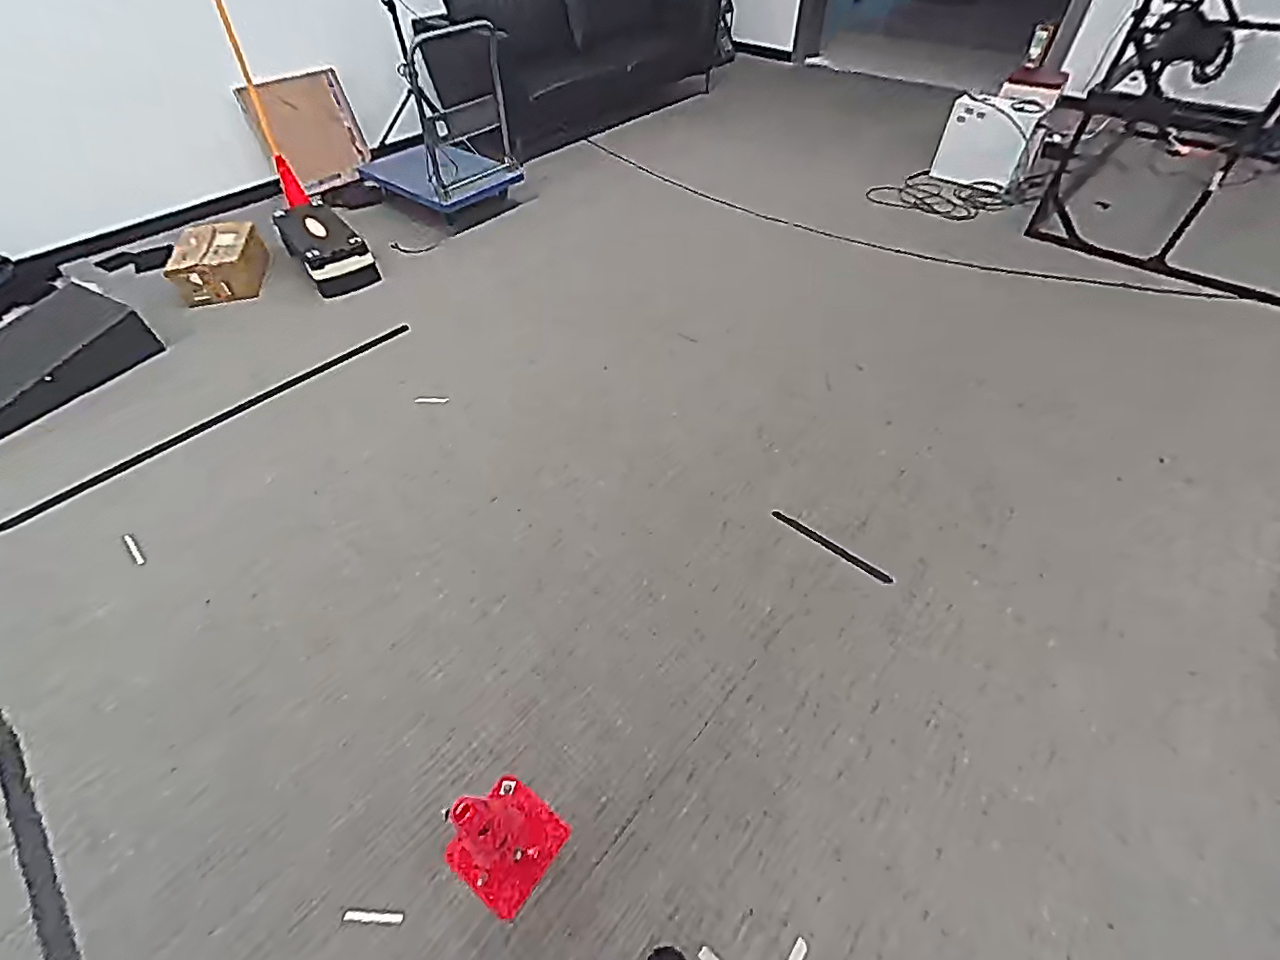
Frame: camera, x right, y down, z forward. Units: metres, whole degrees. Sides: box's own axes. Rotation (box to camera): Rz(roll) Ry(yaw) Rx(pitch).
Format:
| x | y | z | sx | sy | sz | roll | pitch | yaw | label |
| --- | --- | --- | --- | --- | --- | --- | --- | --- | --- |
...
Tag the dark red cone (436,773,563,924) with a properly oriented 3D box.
| x | y | z | sx | sy | sz | roll | pitch | yaw | label |
| --- | --- | --- | --- | --- | --- | --- | --- | --- | --- |
| -0.288 | 0.636 | 0.978 | 0.202 | 0.394 | 0.201 | 28 | 56 | 23 | dark red cone |
